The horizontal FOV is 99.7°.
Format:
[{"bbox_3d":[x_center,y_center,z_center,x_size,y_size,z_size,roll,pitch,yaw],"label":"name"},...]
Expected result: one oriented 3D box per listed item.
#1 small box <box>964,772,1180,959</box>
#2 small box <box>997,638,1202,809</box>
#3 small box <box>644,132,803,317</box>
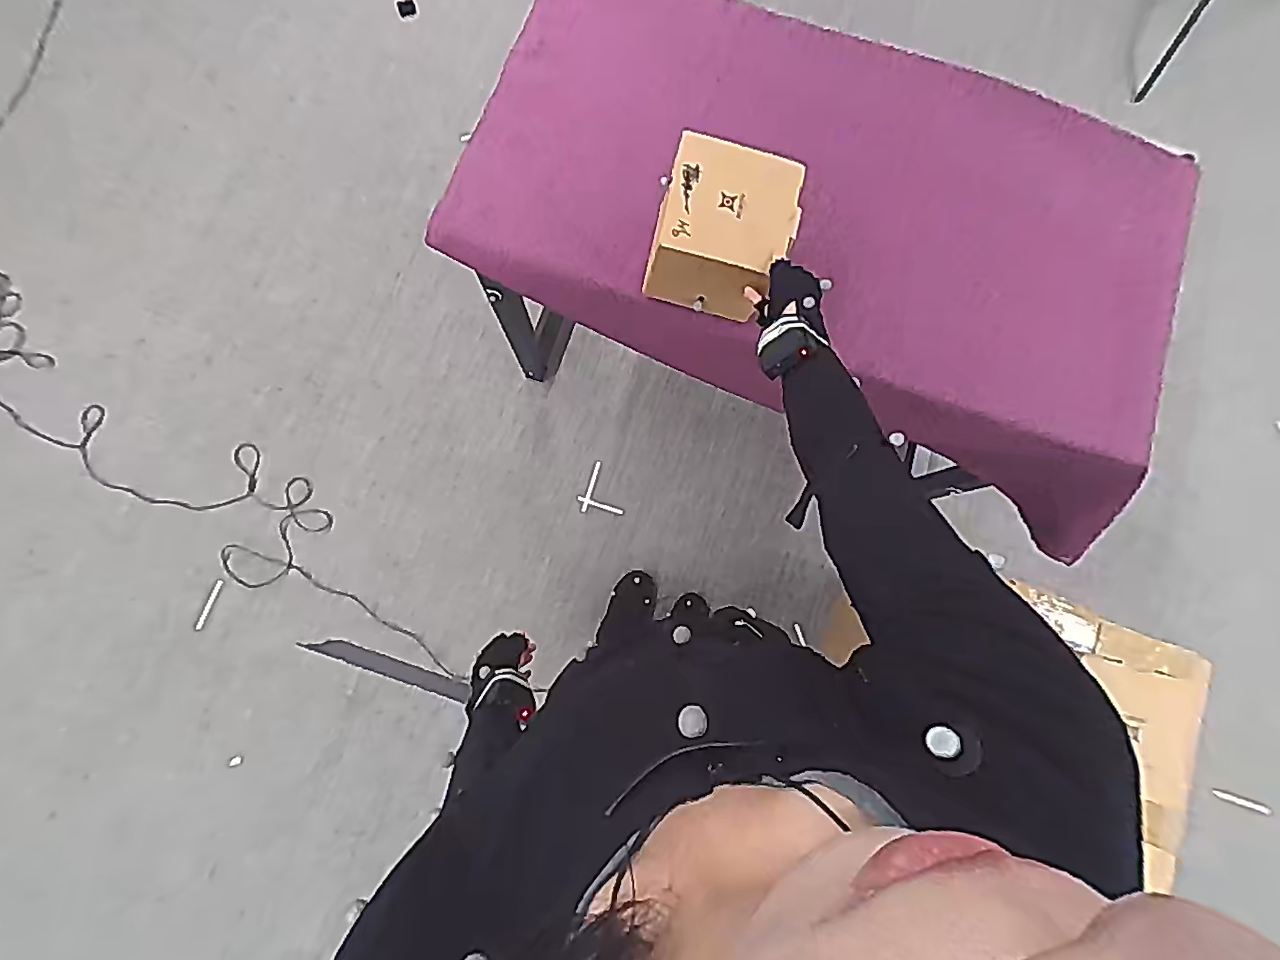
[{"bbox_3d":[0.605,0.559,0.778,0.168,0.176,0.179,20,78,2],"label":"small box"},{"bbox_3d":[0.679,0.351,0.819,0.168,0.176,0.179,14,82,2],"label":"small box"},{"bbox_3d":[0.114,-0.361,0.800,0.179,0.176,0.168,13,83,-5],"label":"small box"}]
